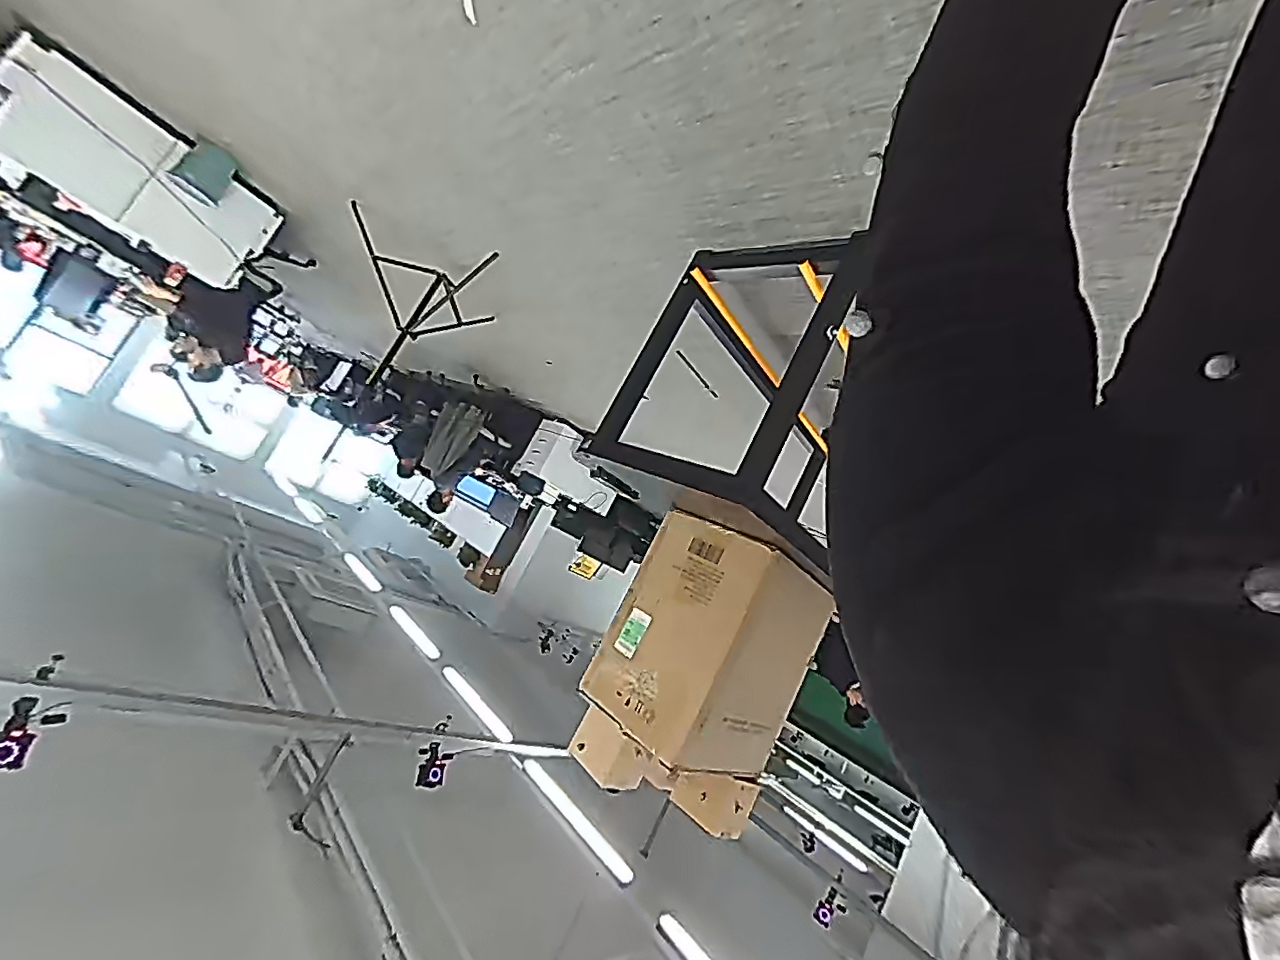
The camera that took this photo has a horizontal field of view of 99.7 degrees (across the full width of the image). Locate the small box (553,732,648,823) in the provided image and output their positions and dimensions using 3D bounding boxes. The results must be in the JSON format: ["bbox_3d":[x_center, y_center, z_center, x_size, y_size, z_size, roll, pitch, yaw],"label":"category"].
[{"bbox_3d":[-0.110,0.842,1.548,0.179,0.176,0.168,21,171,46],"label":"small box"}]

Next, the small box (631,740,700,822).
[{"bbox_3d":[0.064,0.964,1.740,0.168,0.176,0.179,20,167,44],"label":"small box"}]

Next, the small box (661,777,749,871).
[{"bbox_3d":[0.199,1.008,1.591,0.179,0.176,0.168,13,160,48],"label":"small box"}]
